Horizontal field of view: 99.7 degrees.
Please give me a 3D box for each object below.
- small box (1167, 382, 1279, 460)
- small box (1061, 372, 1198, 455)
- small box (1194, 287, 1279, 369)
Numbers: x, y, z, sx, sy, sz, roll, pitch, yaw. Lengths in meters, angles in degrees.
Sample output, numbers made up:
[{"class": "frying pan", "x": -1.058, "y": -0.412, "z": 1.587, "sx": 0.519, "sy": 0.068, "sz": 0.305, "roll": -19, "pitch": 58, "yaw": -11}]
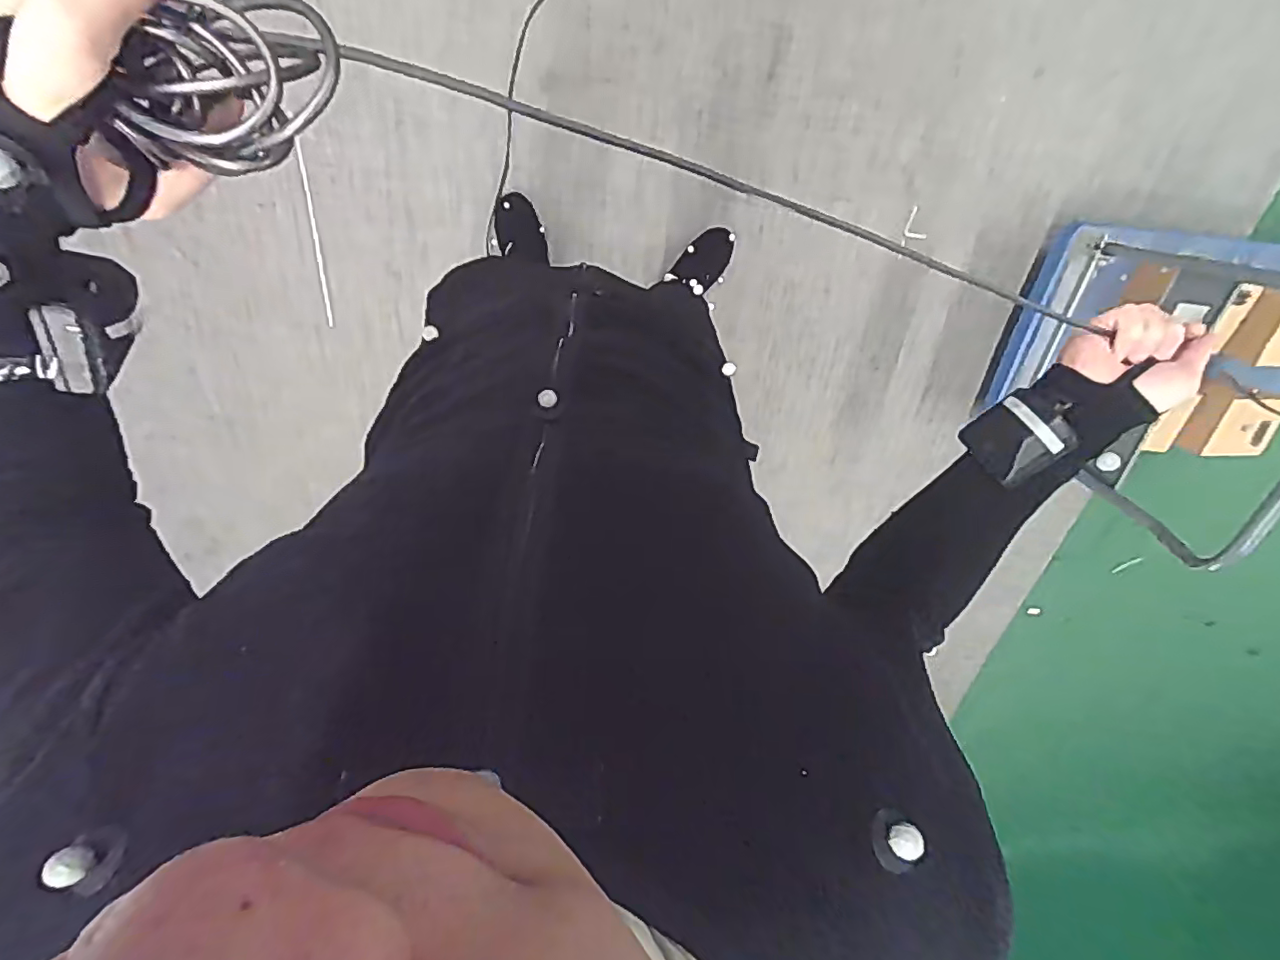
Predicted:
[{"class": "small box", "x": 1.582, "y": -0.167, "z": 1.493, "sx": 0.179, "sy": 0.176, "sz": 0.168, "roll": 1, "pitch": 119, "yaw": -3}, {"class": "small box", "x": 1.313, "y": -0.183, "z": 1.465, "sx": 0.179, "sy": 0.176, "sz": 0.168, "roll": 5, "pitch": 120, "yaw": -6}, {"class": "small box", "x": 1.589, "y": -0.385, "z": 1.367, "sx": 0.179, "sy": 0.176, "sz": 0.168, "roll": 0, "pitch": 121, "yaw": -4}]
